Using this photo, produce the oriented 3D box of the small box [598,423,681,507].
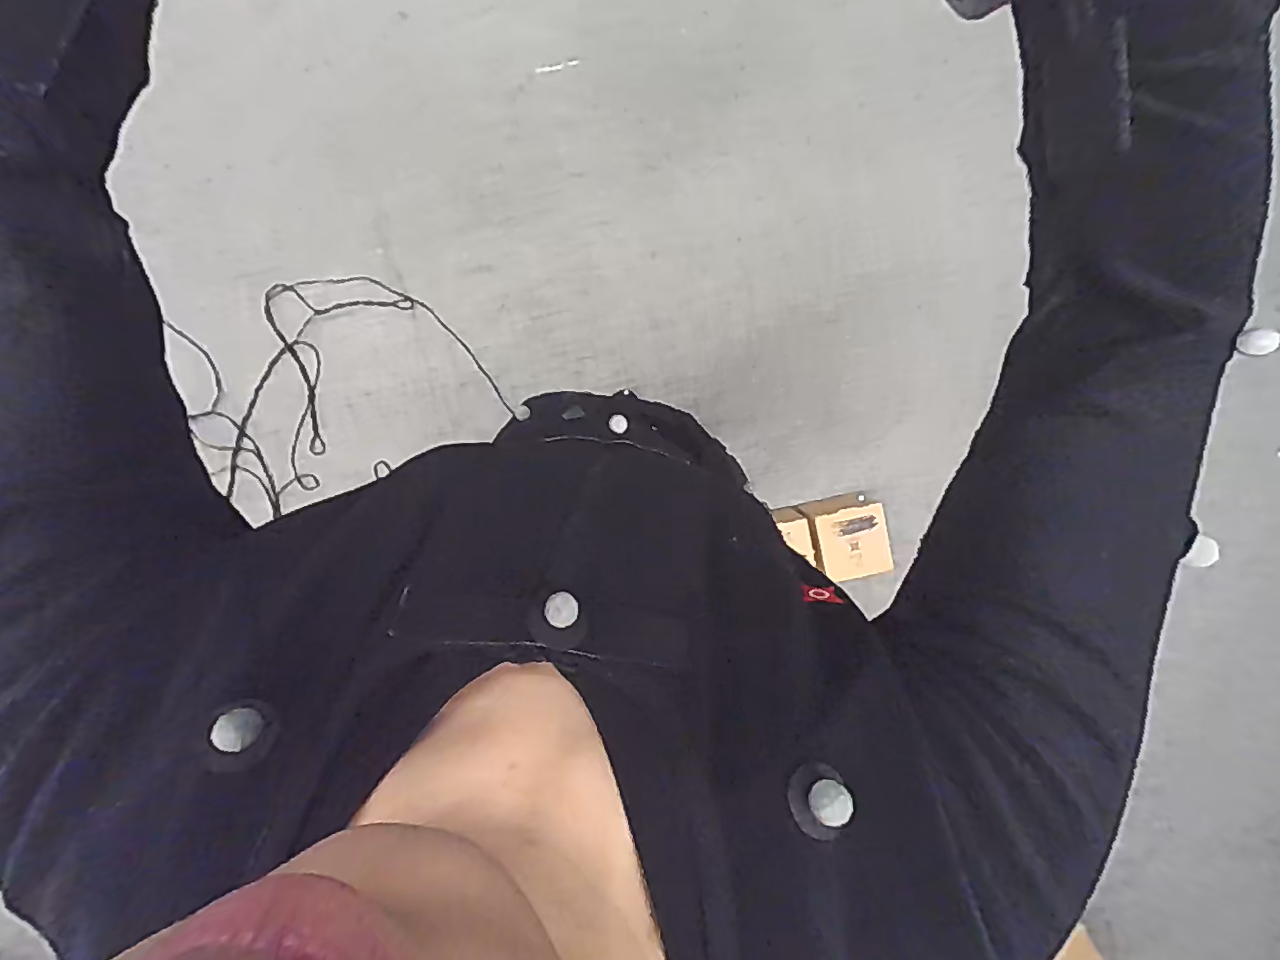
[{"bbox_3d":[-0.008,-0.045,1.414,0.168,0.176,0.179,15,94,-11],"label":"small box"}]
